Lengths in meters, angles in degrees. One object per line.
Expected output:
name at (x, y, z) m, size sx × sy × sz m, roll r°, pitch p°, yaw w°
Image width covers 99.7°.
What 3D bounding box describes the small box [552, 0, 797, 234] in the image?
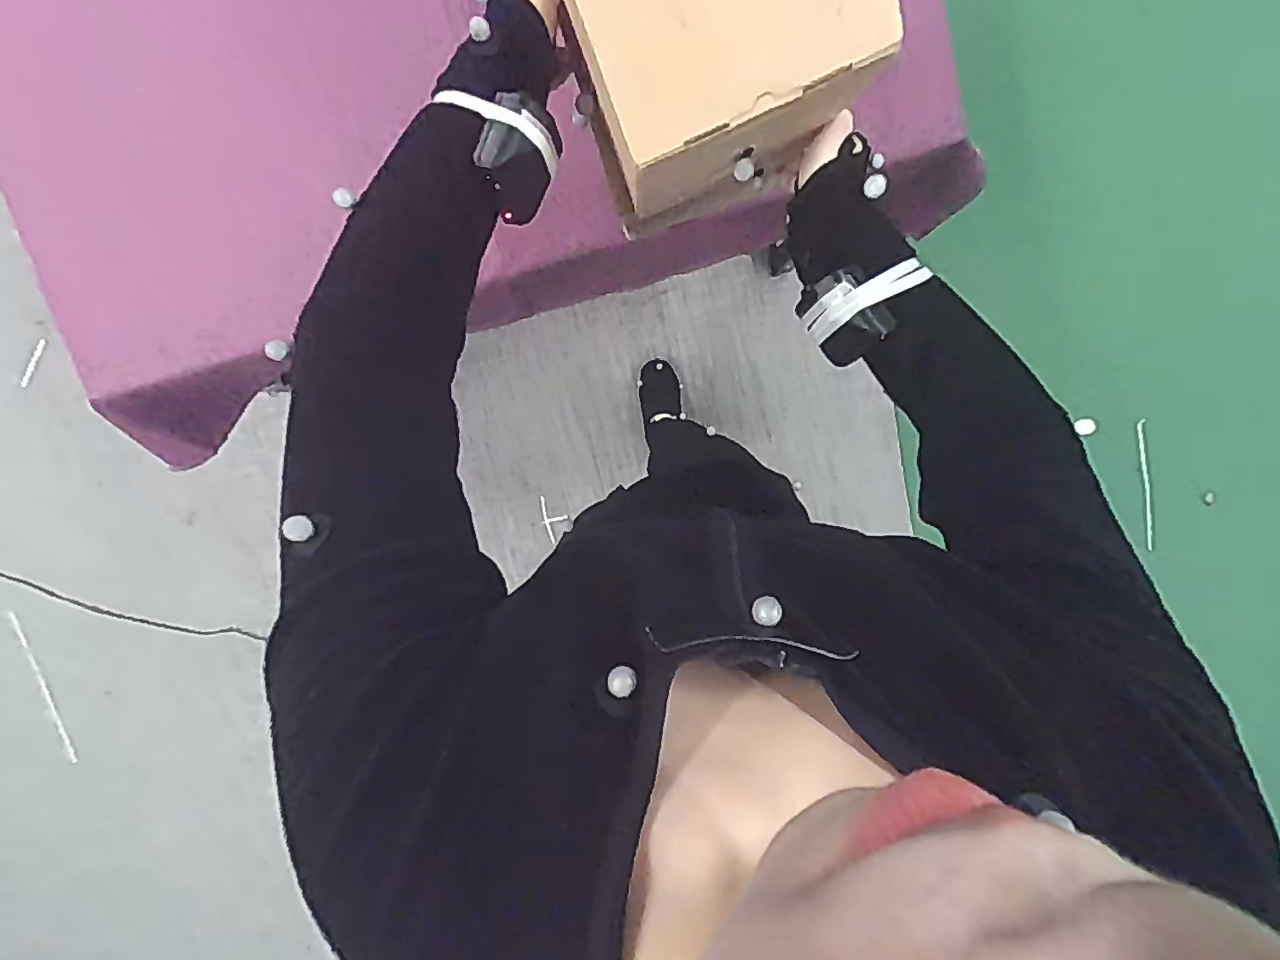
small box at (0.034, -0.361, 0.533) m, size 0.179 × 0.176 × 0.168 m, roll -17°, pitch 105°, yaw 5°
